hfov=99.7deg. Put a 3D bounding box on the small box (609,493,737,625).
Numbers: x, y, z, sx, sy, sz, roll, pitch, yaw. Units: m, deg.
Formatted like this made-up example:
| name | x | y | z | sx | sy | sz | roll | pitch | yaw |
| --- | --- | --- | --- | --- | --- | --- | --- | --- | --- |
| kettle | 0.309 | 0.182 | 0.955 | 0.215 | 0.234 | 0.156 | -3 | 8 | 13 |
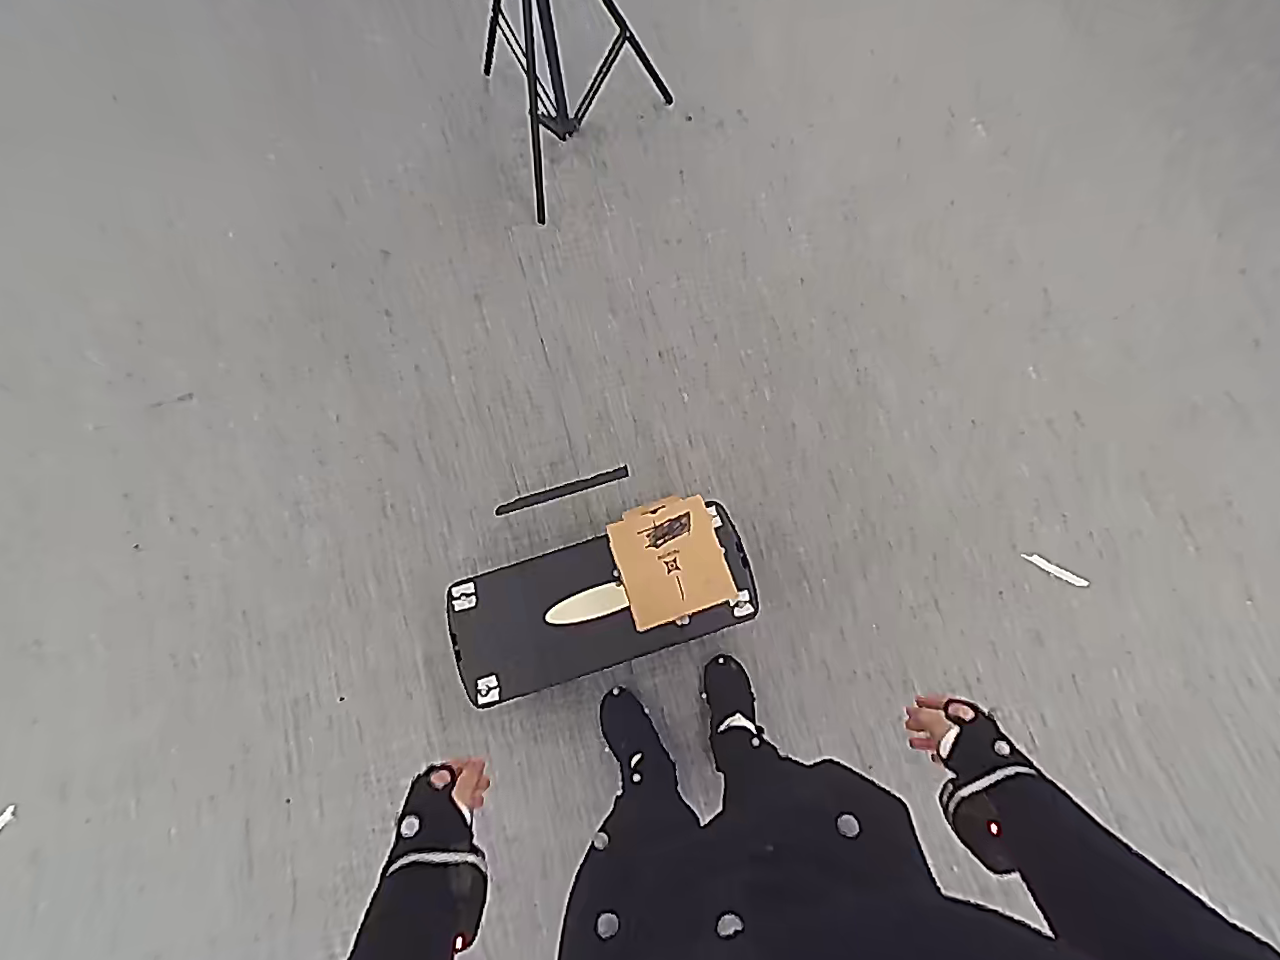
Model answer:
| name | x | y | z | sx | sy | sz | roll | pitch | yaw |
| --- | --- | --- | --- | --- | --- | --- | --- | --- | --- |
| small box | 0.052 | 0.142 | 0.943 | 0.168 | 0.176 | 0.179 | -19 | 78 | -2 |
